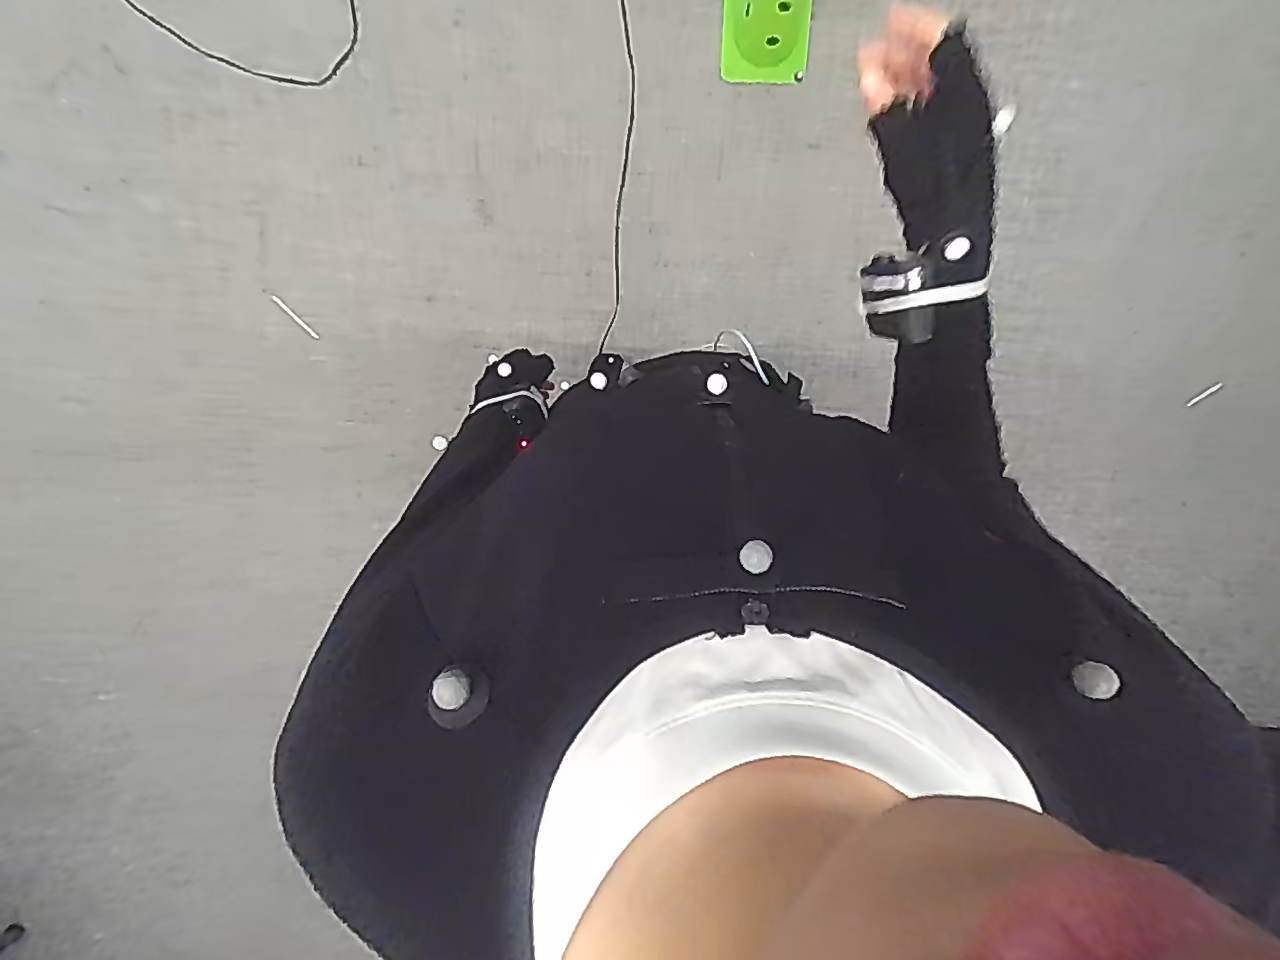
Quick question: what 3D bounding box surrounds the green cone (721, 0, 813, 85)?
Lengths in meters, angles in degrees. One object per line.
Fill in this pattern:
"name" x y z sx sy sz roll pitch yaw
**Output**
"green cone" 0.287 -0.982 1.072 0.202 0.368 0.200 1 103 1
